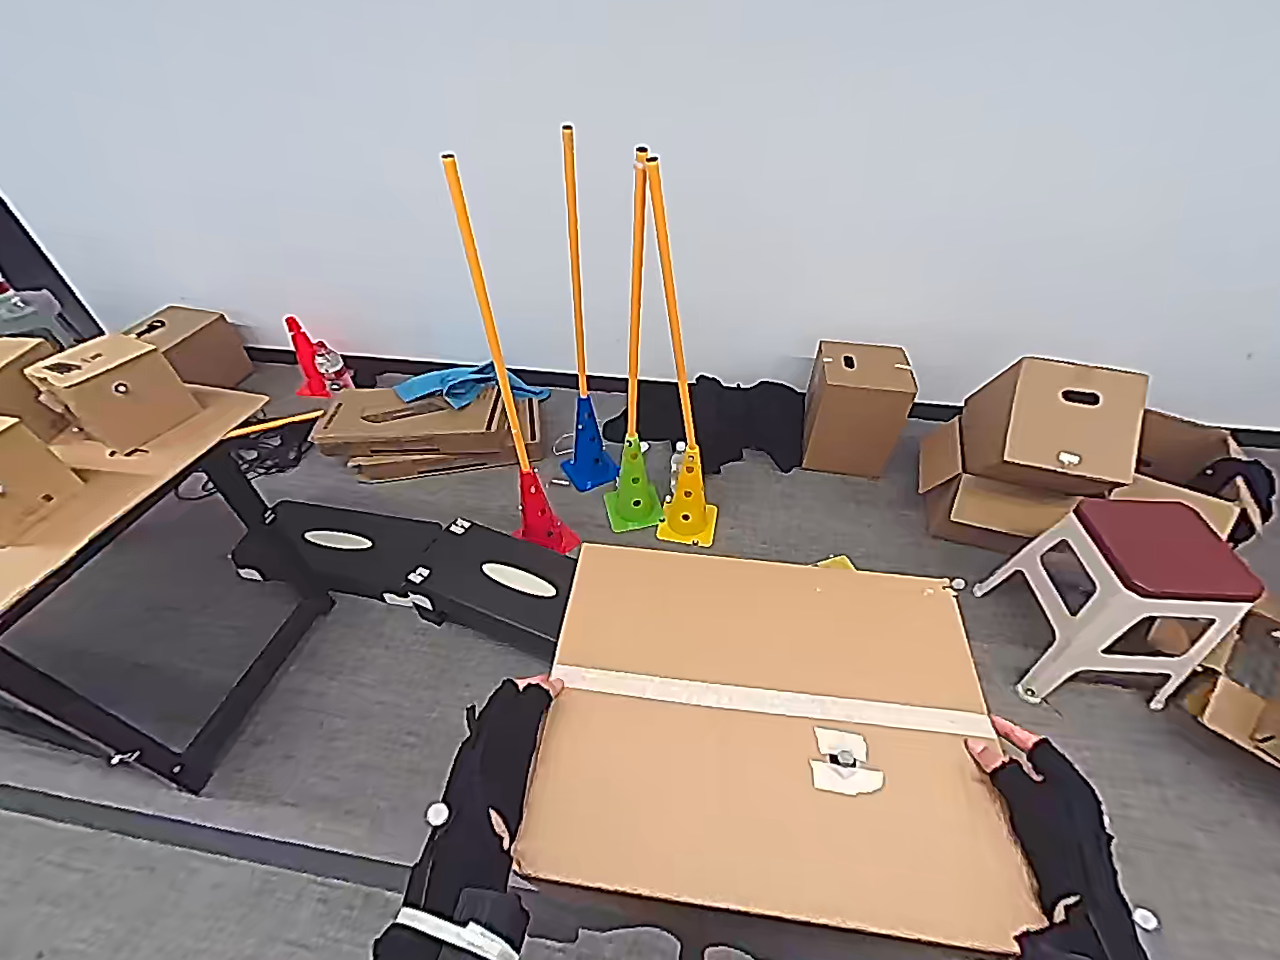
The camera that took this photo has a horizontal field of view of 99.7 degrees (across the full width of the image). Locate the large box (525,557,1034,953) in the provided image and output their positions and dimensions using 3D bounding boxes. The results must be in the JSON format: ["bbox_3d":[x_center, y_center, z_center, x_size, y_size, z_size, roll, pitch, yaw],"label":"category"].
[{"bbox_3d":[0.118,0.317,0.629,0.408,0.320,0.320,5,49,6],"label":"large box"}]
